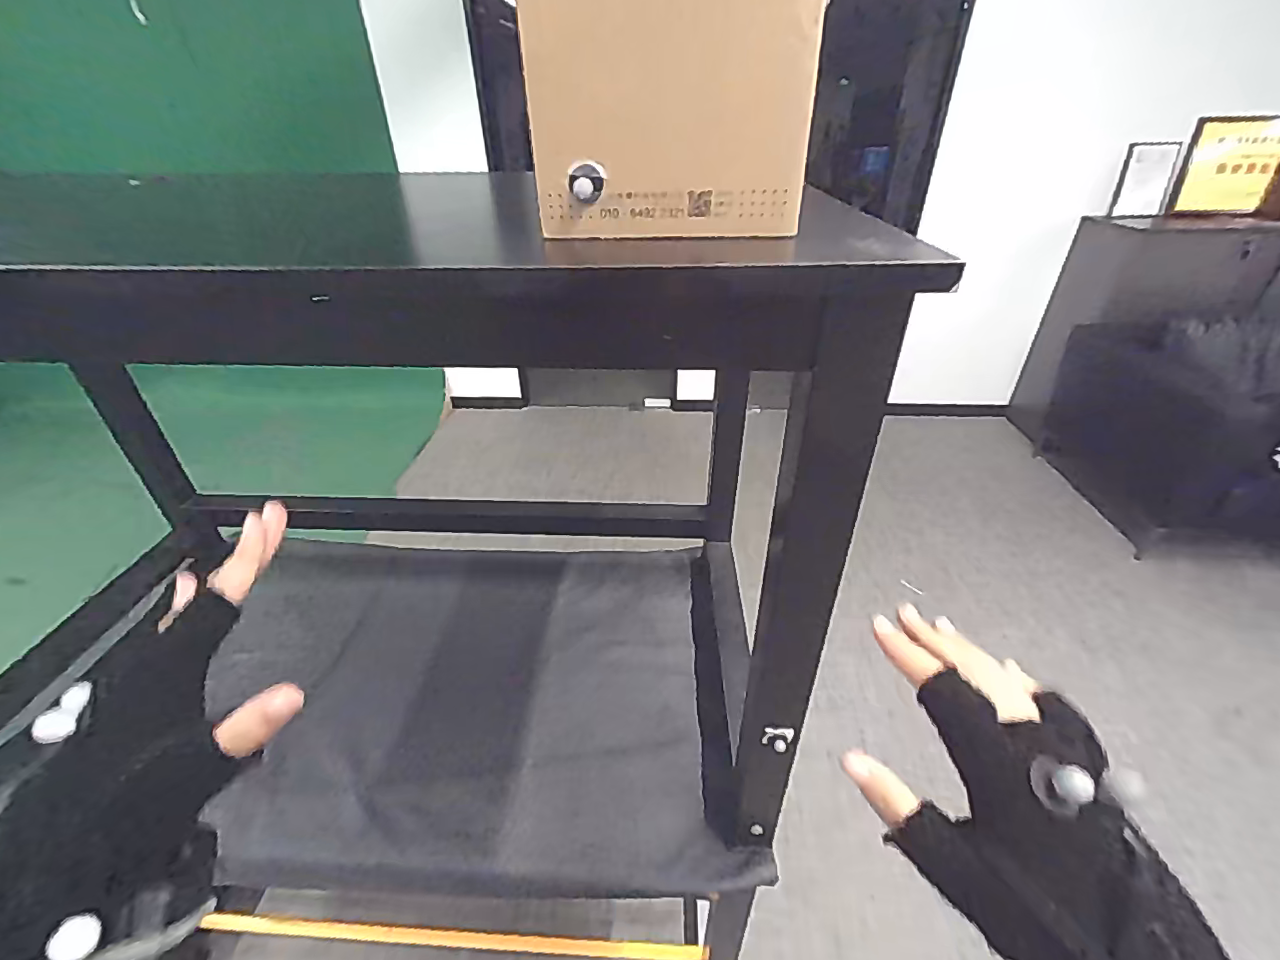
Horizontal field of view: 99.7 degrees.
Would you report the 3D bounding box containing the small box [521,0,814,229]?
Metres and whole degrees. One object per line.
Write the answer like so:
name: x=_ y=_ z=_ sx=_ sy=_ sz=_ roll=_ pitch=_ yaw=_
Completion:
small box: x=0.024 y=-0.277 z=0.378 sx=0.168 sy=0.176 sz=0.179 roll=3 pitch=33 yaw=5
